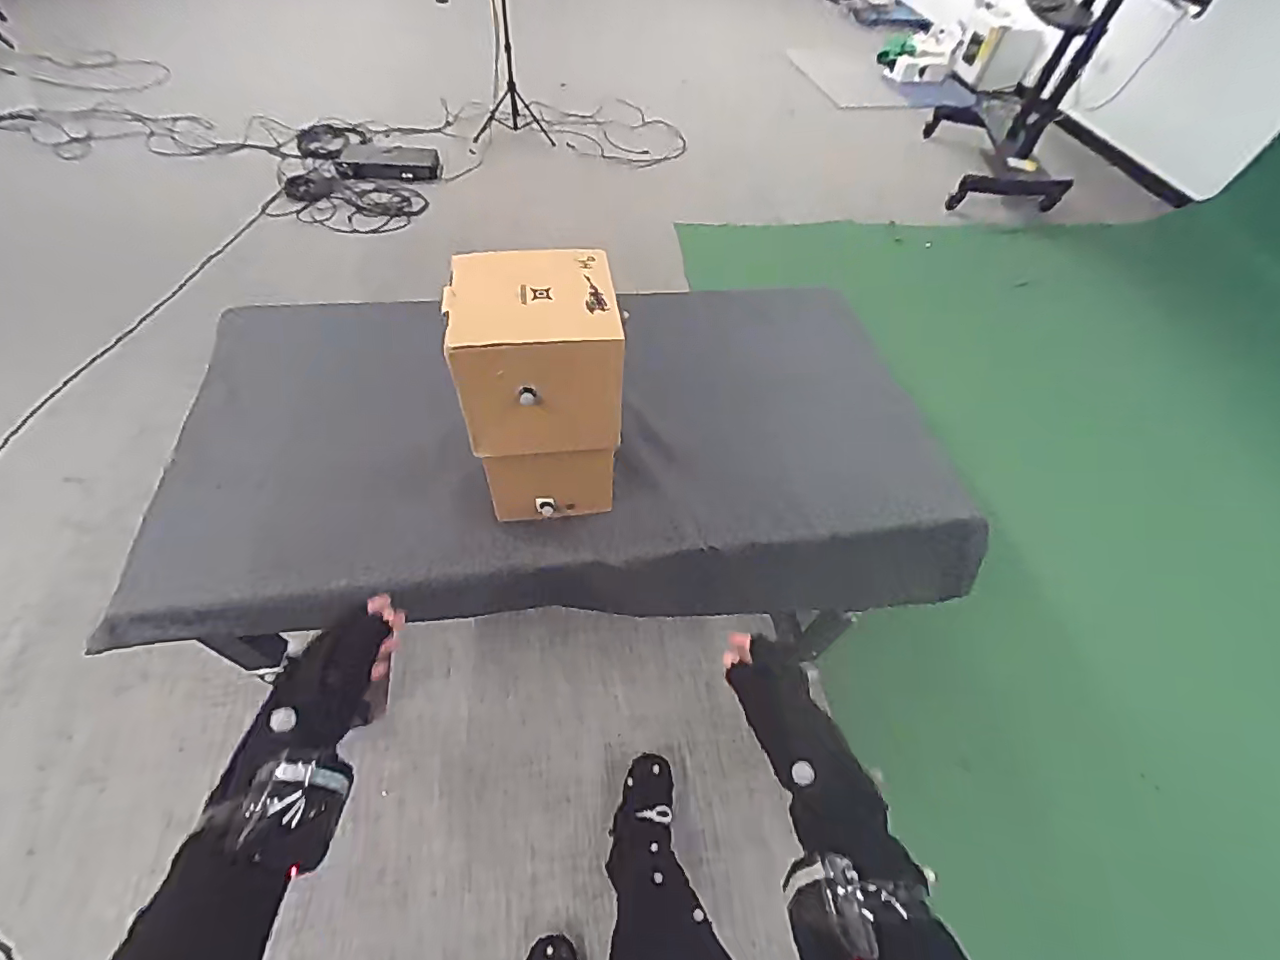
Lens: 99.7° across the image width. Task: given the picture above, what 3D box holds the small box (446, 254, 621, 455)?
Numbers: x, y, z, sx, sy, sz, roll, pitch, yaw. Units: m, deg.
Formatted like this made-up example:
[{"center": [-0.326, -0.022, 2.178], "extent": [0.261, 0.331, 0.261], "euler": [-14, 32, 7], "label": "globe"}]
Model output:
[{"center": [-0.121, -0.146, 0.645], "extent": [0.179, 0.176, 0.168], "euler": [-7, 52, -10], "label": "small box"}]

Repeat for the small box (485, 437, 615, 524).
[{"center": [-0.132, -0.060, 0.782], "extent": [0.168, 0.176, 0.179], "euler": [-8, 55, -9], "label": "small box"}]
